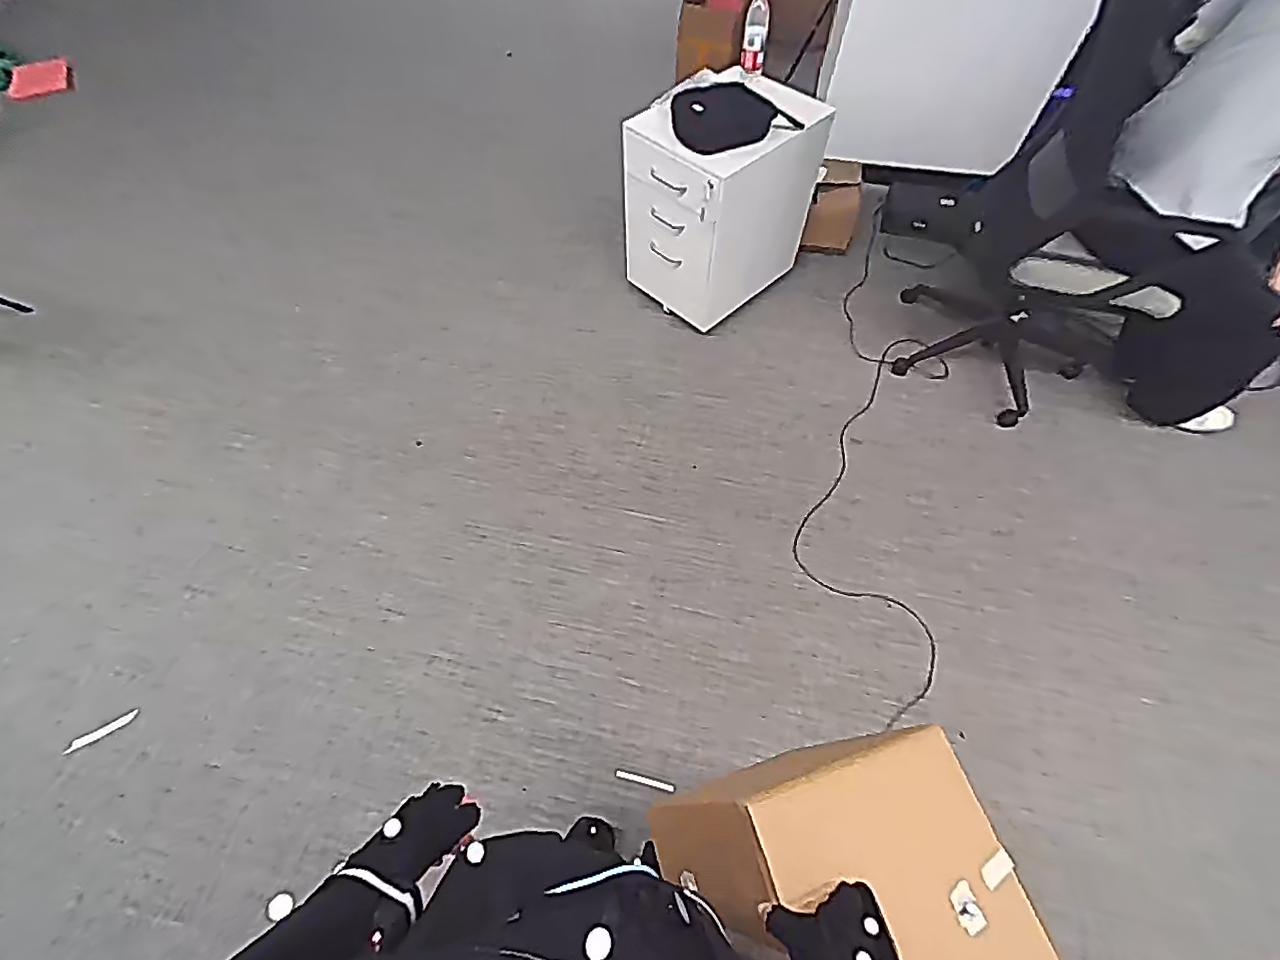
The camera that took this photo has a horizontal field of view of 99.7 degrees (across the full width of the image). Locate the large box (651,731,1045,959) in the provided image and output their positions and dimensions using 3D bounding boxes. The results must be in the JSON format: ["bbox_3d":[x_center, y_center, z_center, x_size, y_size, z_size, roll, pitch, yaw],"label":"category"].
[{"bbox_3d":[0.250,0.587,0.772,0.320,0.408,0.320,-8,62,-21],"label":"large box"}]
